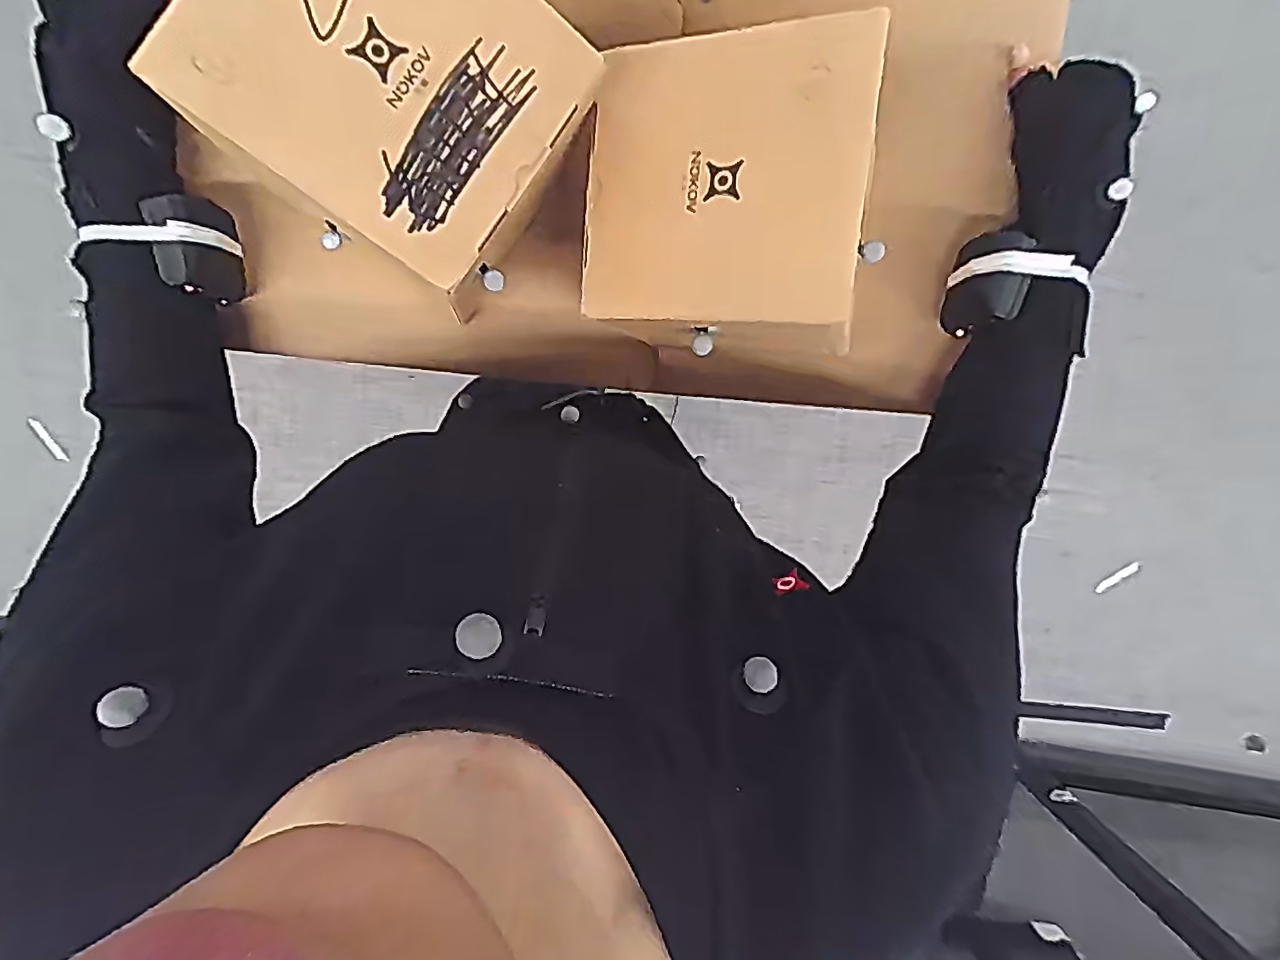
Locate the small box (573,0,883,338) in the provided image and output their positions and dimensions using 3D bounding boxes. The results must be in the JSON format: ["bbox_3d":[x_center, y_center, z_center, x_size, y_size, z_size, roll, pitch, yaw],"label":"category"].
[{"bbox_3d":[0.071,-0.202,0.402,0.179,0.176,0.168,9,99,21],"label":"small box"}]
